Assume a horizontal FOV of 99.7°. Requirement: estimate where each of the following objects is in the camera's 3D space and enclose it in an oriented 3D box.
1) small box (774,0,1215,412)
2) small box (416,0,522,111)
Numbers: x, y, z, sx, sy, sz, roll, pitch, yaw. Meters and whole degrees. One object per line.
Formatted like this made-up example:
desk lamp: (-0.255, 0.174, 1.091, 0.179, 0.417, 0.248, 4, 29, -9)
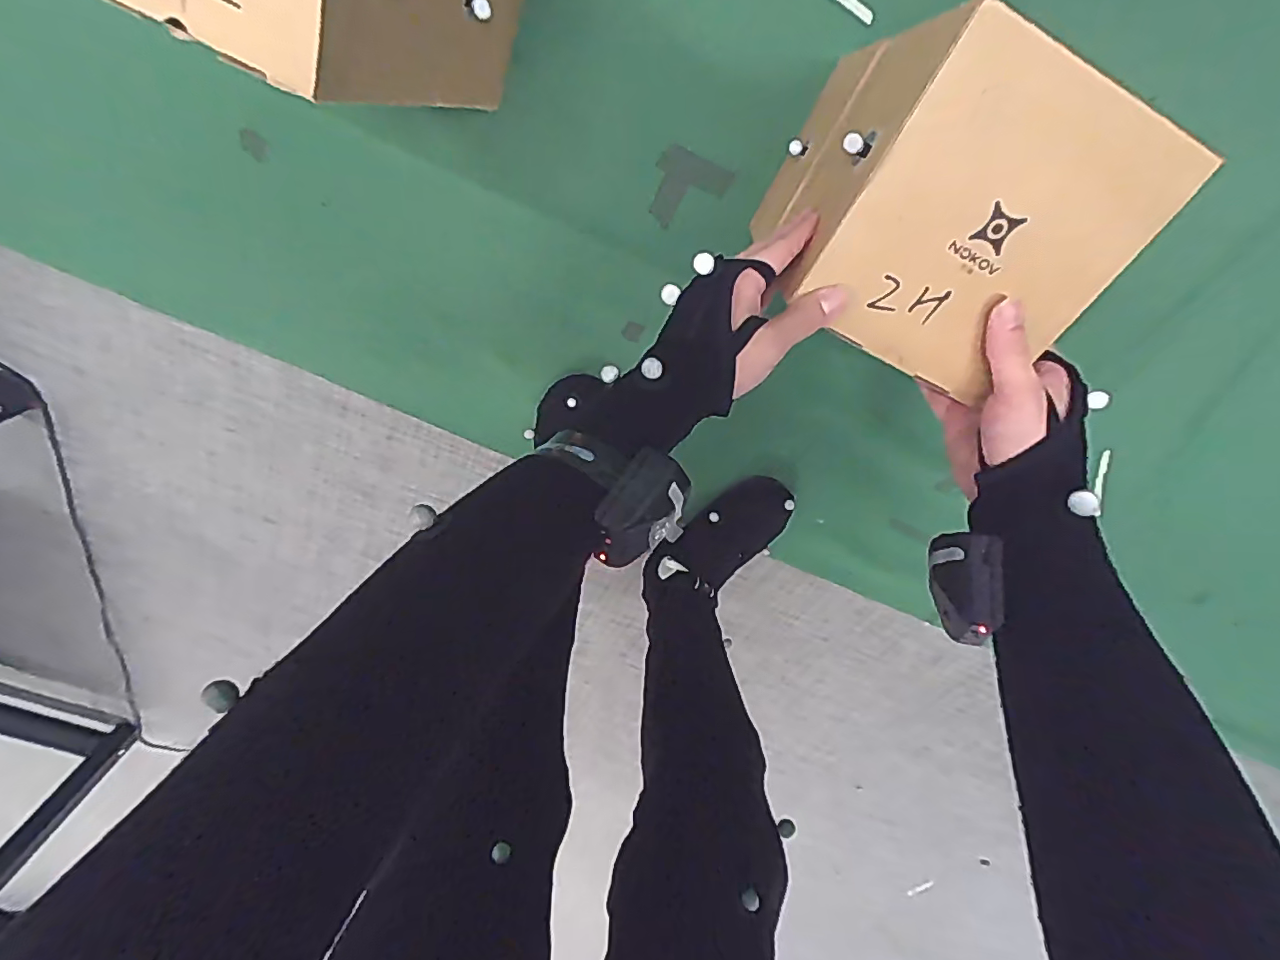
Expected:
small box: (0.215, -0.187, 0.392, 0.168, 0.176, 0.179, 25, 123, -10)
small box: (-0.206, -0.453, 0.467, 0.168, 0.176, 0.179, 23, 124, -9)
